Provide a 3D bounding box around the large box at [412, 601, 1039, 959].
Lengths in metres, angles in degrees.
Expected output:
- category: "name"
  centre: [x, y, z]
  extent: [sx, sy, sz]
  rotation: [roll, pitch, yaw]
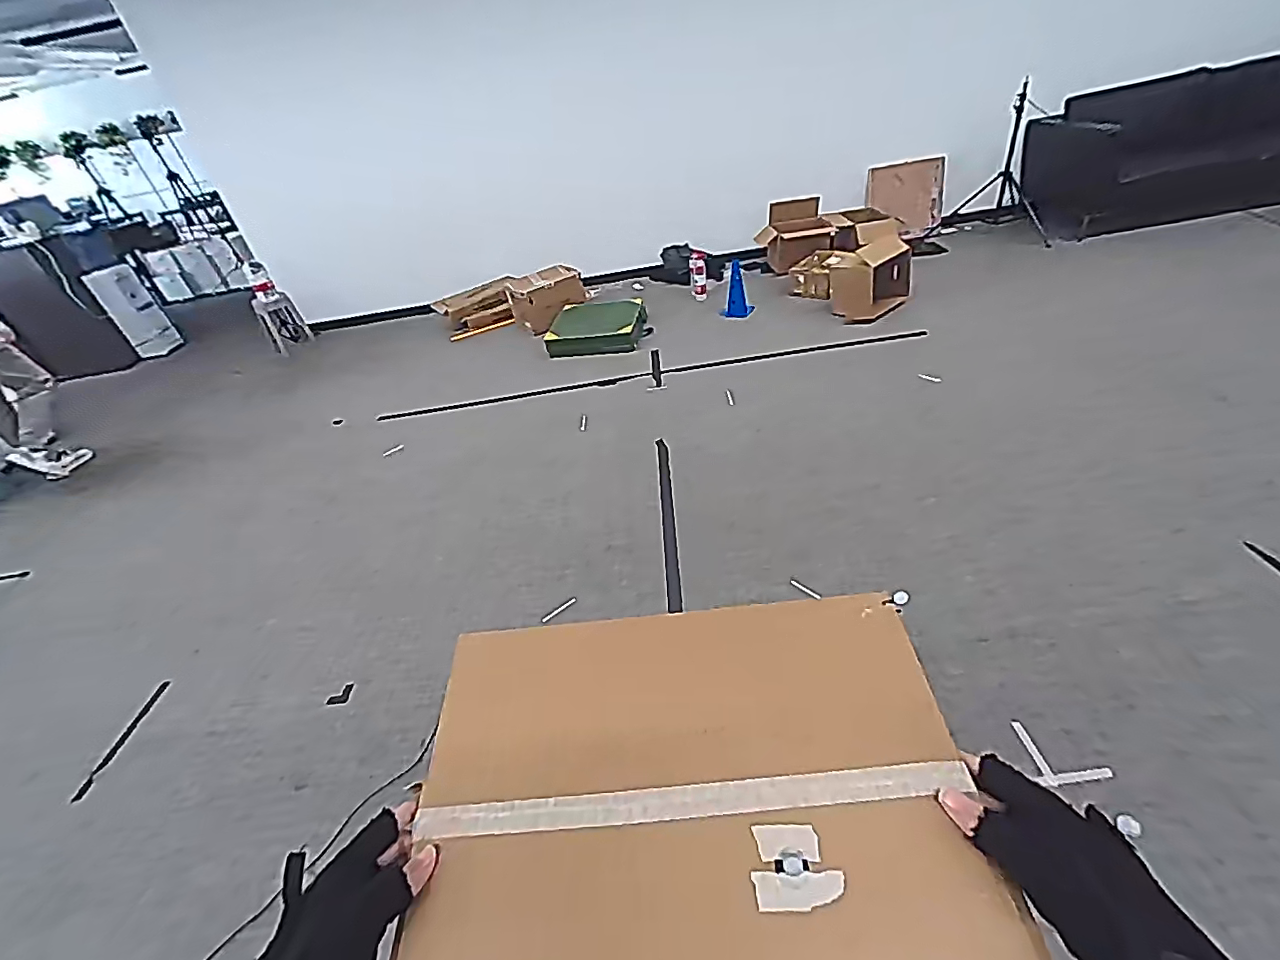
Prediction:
- category: "large box"
  centre: [0.055, 0.349, 0.510]
  extent: [0.408, 0.320, 0.320]
  rotation: [-7, 45, 2]
